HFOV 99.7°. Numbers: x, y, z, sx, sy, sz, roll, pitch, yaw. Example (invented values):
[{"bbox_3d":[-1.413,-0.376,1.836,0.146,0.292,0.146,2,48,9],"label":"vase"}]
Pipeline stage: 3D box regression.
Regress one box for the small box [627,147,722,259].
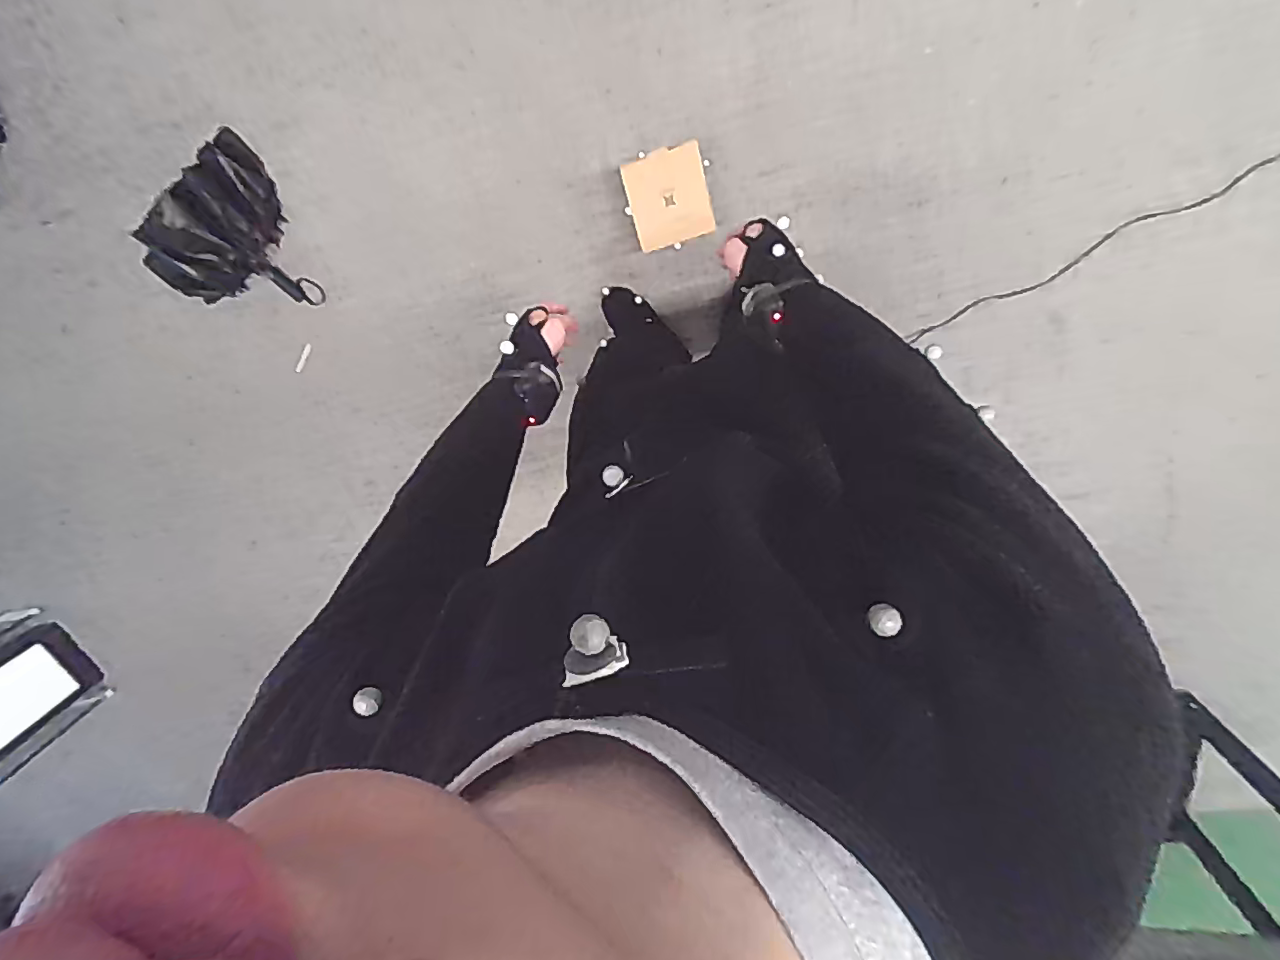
[{"bbox_3d":[0.080,-0.611,1.204,0.168,0.176,0.179,-13,114,14],"label":"small box"}]
